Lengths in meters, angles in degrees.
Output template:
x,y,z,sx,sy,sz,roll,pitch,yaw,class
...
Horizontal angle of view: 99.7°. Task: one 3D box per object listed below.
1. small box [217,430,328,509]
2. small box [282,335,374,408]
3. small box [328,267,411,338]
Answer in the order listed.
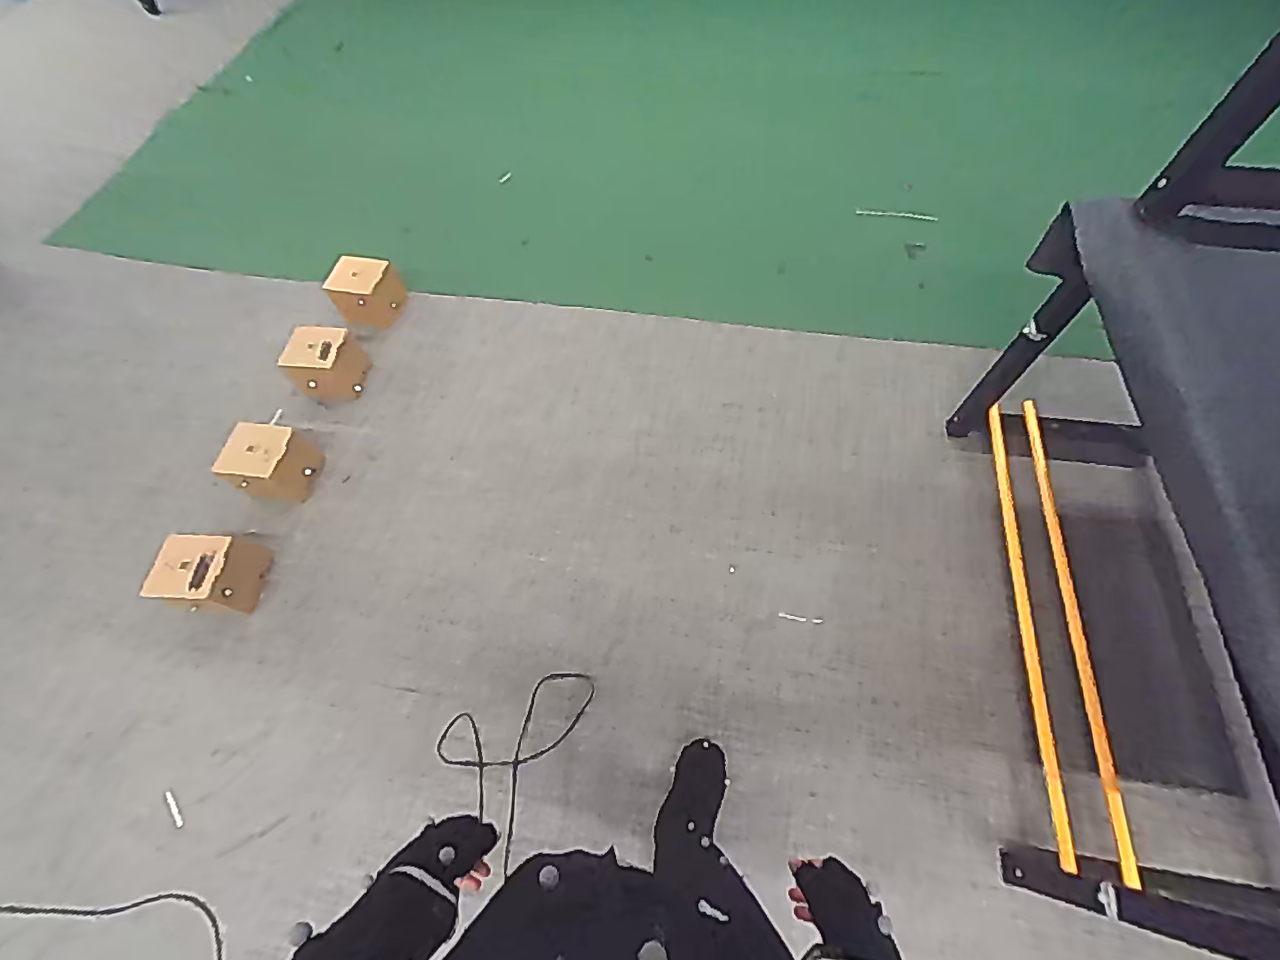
x,y,z,sx,sy,sz,roll,pitch,yaw,class
-1.067,-0.026,1.585,0.179,0.176,0.168,6,63,4,small box
-1.006,-0.349,1.765,0.179,0.176,0.168,4,61,4,small box
-0.953,-0.628,1.920,0.179,0.176,0.168,9,62,6,small box
